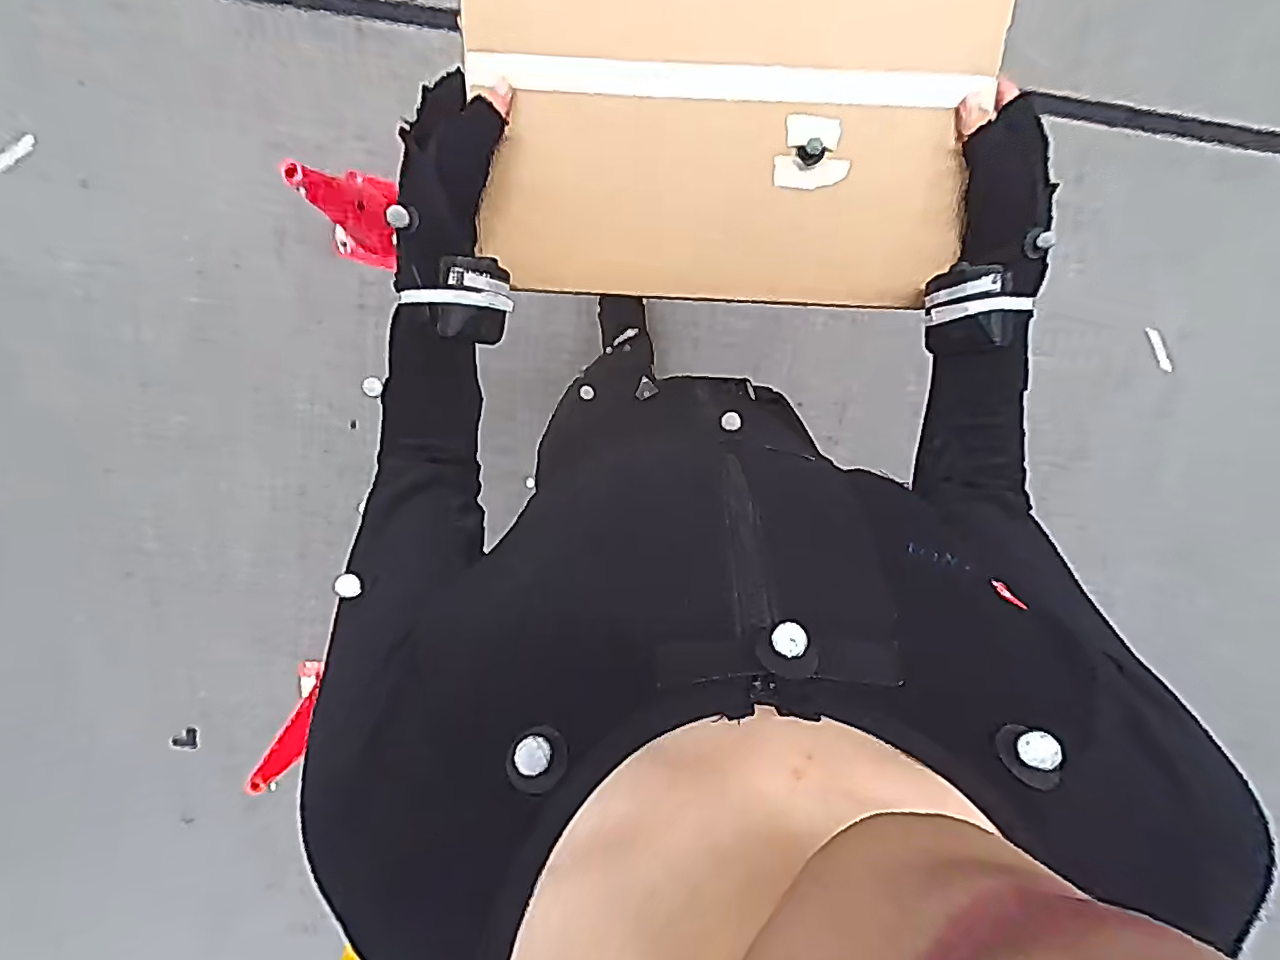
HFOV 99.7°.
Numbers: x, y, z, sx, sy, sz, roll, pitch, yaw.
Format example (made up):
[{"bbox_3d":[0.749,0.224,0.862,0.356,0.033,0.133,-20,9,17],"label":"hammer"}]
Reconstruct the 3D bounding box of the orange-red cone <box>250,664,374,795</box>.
[{"bbox_3d":[-0.871,0.668,1.403,0.198,0.360,0.199,5,103,-1],"label":"orange-red cone"}]

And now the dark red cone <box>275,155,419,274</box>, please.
[{"bbox_3d":[-0.630,-0.581,1.133,0.201,0.394,0.202,13,101,-5],"label":"dark red cone"}]

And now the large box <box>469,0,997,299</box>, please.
[{"bbox_3d":[0.065,-0.358,0.564,0.408,0.320,0.320,2,109,-1],"label":"large box"}]
